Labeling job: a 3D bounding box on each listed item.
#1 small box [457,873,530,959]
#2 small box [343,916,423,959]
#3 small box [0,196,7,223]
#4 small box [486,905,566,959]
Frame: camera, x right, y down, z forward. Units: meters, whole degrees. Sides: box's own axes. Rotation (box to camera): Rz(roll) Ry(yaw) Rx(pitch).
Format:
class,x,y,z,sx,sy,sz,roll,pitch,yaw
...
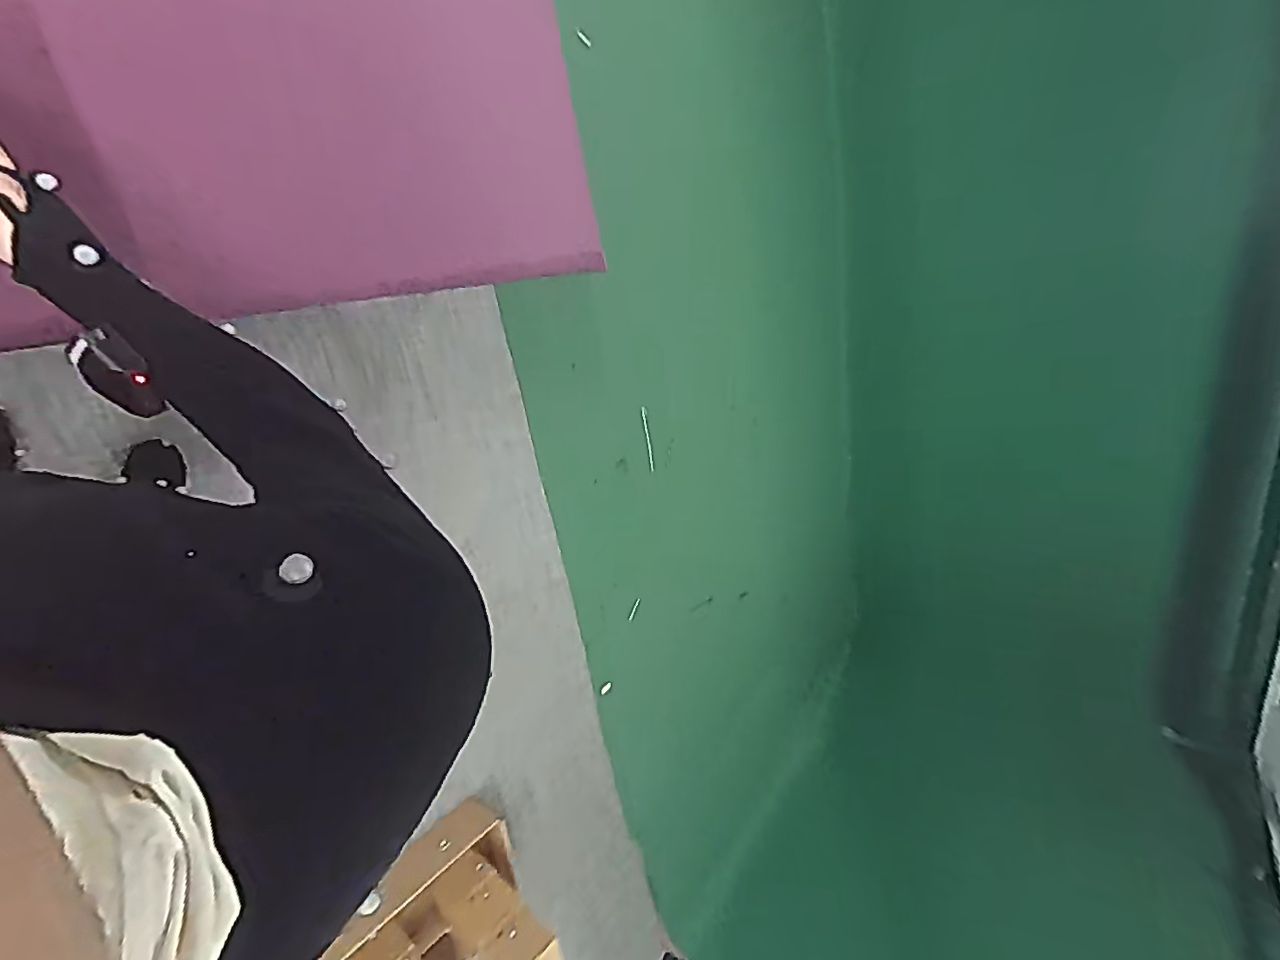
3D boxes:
class,x,y,z,sx,sy,sz,roll,pitch,yaw
small box,-0.460,1.424,1.734,0.168,0.176,0.179,-23,113,-44
small box,-0.767,1.487,1.637,0.168,0.176,0.179,-25,113,-46
small box,-0.667,-0.316,0.429,0.168,0.176,0.179,-24,109,-40
small box,-0.339,1.447,1.625,0.168,0.176,0.179,-23,112,-45
